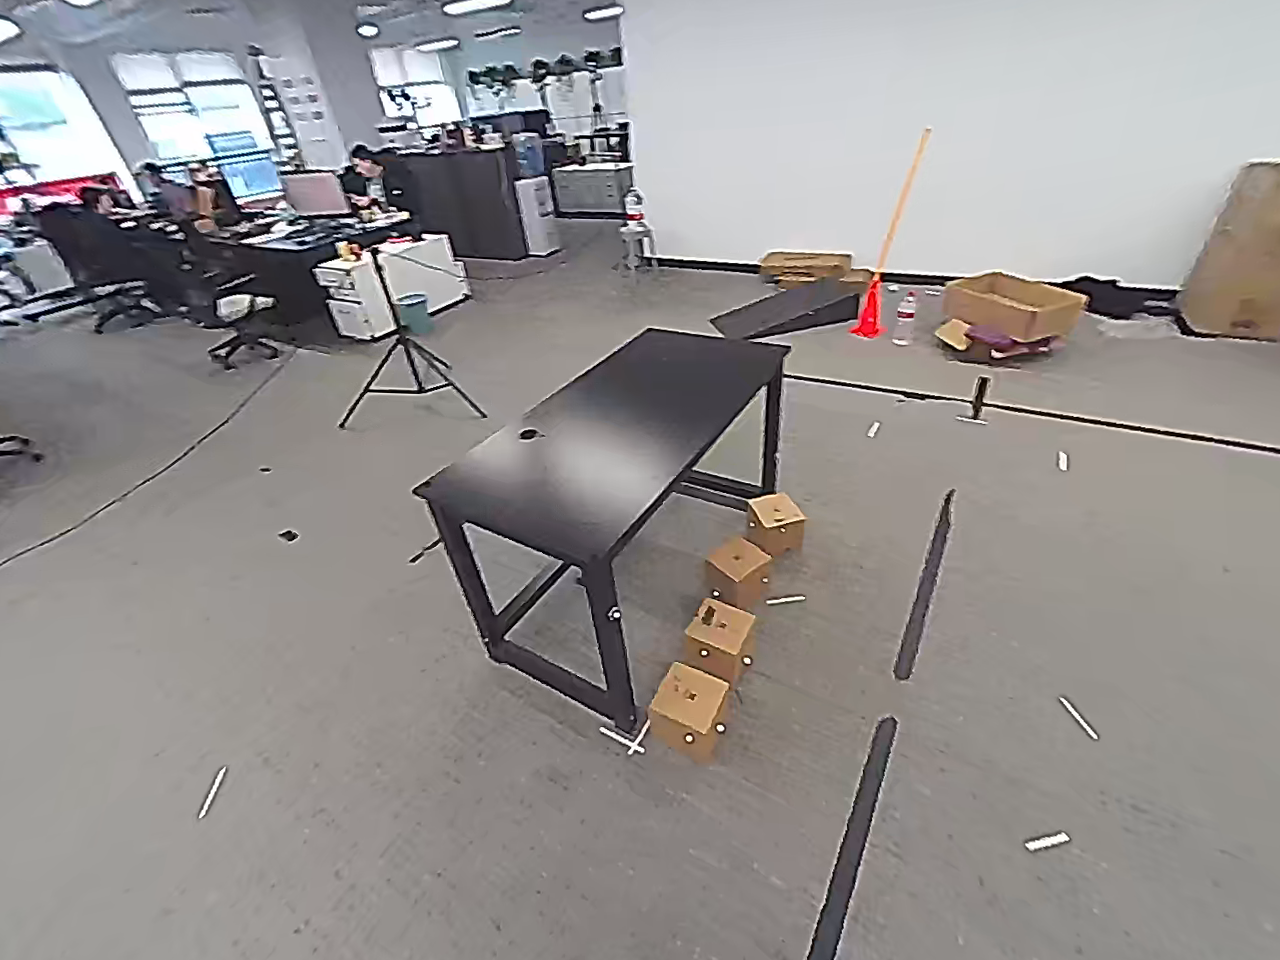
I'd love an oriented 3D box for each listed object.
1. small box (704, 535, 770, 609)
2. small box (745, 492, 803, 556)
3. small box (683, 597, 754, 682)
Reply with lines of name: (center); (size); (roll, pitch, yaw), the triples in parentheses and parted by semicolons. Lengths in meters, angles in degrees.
small box: (0.349, 0.338, 1.958); (0.179, 0.176, 0.168); (-29, 41, -26)
small box: (0.525, 0.176, 2.144); (0.168, 0.176, 0.179); (-14, 37, -9)
small box: (0.252, 0.515, 1.734); (0.179, 0.176, 0.168); (16, 42, 26)
